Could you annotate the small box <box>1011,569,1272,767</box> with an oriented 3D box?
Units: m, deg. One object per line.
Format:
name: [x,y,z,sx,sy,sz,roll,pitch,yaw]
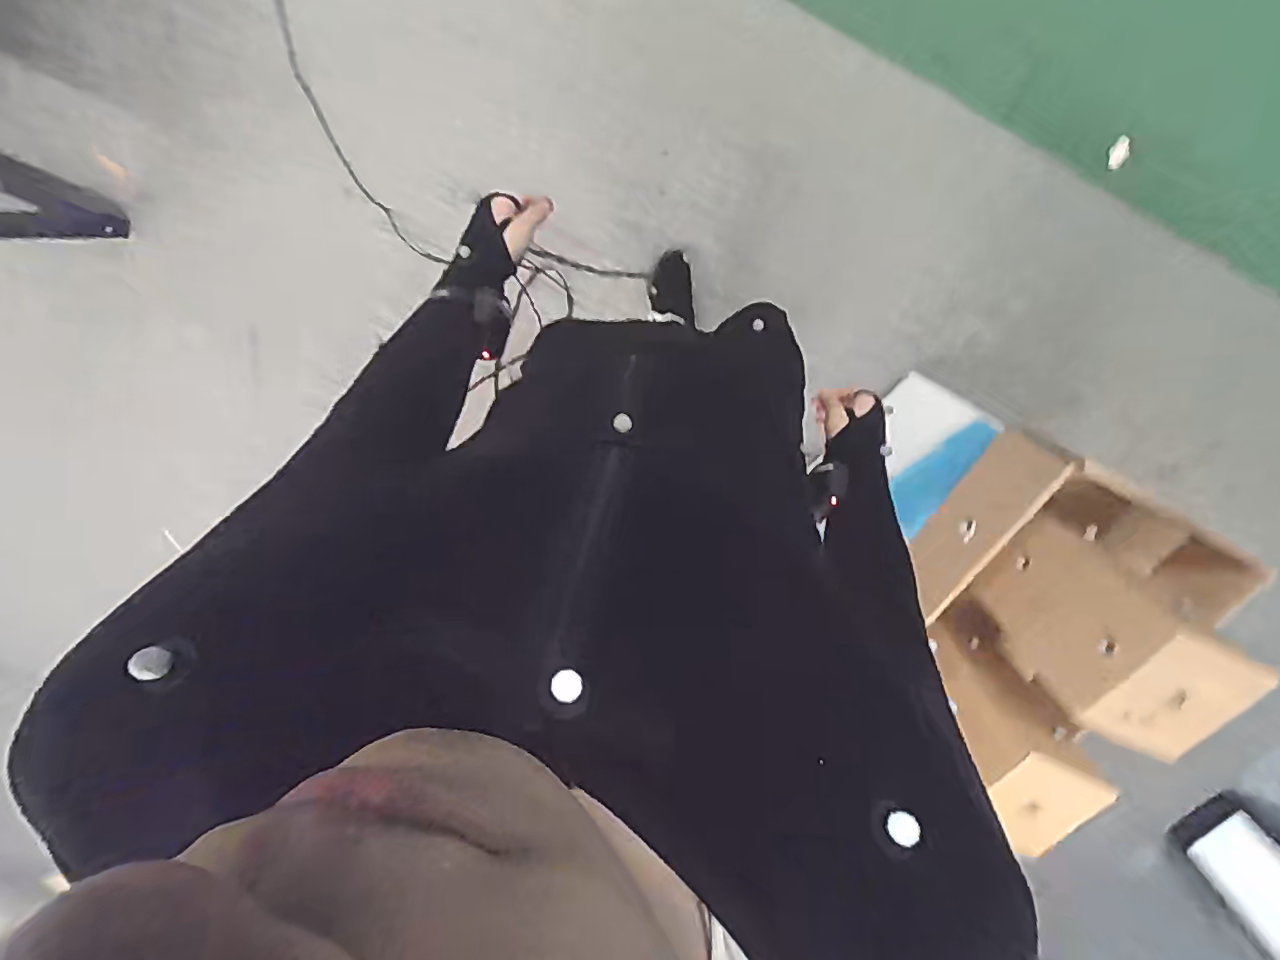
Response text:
small box: [0.687,0.258,0.770,0.168,0.176,0.179,25,115,-7]

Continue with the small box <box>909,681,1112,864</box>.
small box: [0.577,0.462,0.873,0.168,0.176,0.179,27,113,-8]
